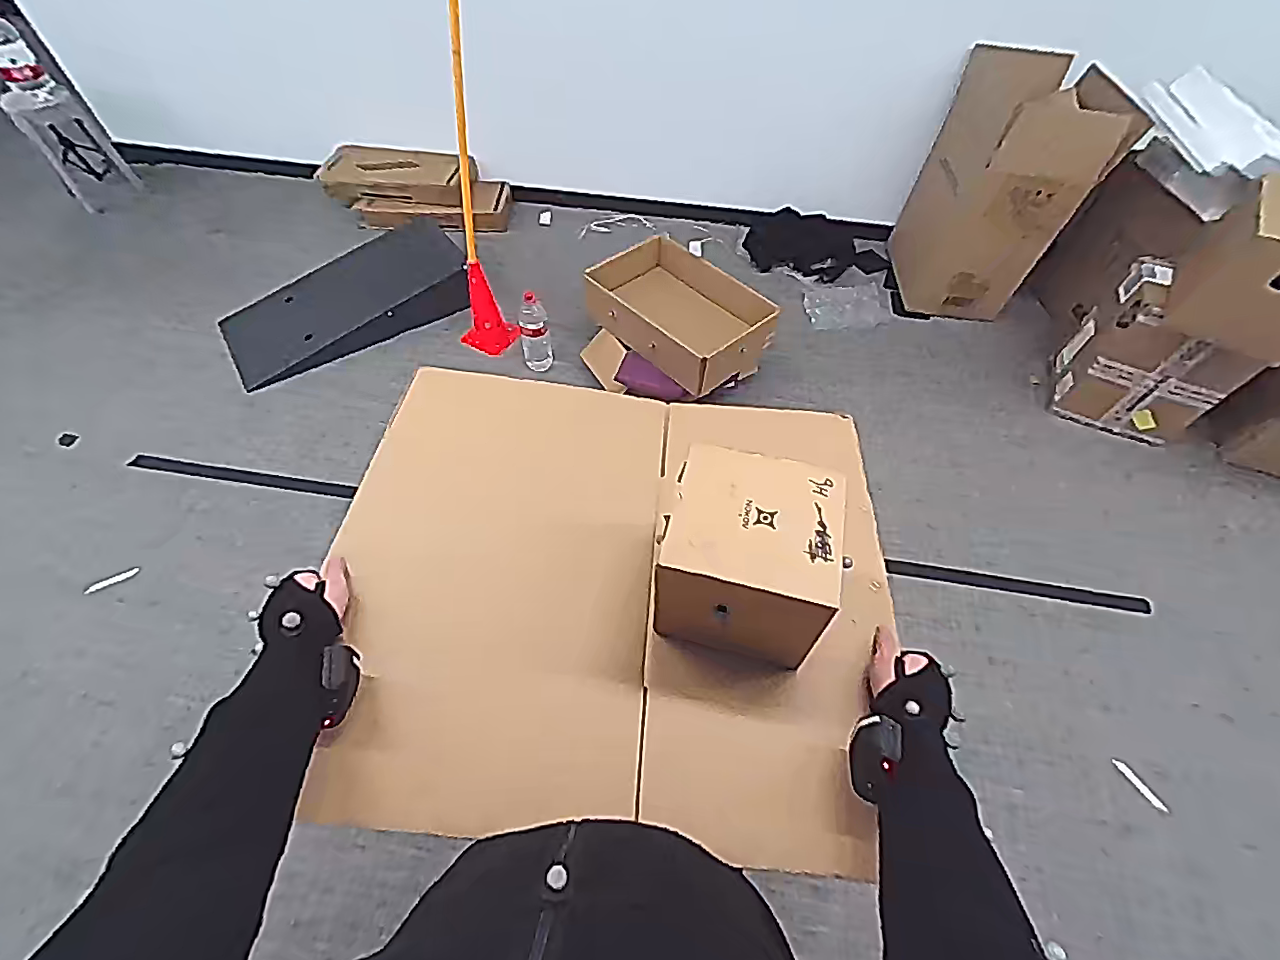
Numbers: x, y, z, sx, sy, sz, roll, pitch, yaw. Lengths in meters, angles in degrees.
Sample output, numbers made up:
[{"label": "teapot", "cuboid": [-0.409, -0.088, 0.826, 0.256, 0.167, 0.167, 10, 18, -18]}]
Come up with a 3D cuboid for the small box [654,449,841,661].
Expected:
[{"label": "small box", "cuboid": [0.119, 0.090, 0.626, 0.179, 0.176, 0.168, 11, 54, 10]}]
